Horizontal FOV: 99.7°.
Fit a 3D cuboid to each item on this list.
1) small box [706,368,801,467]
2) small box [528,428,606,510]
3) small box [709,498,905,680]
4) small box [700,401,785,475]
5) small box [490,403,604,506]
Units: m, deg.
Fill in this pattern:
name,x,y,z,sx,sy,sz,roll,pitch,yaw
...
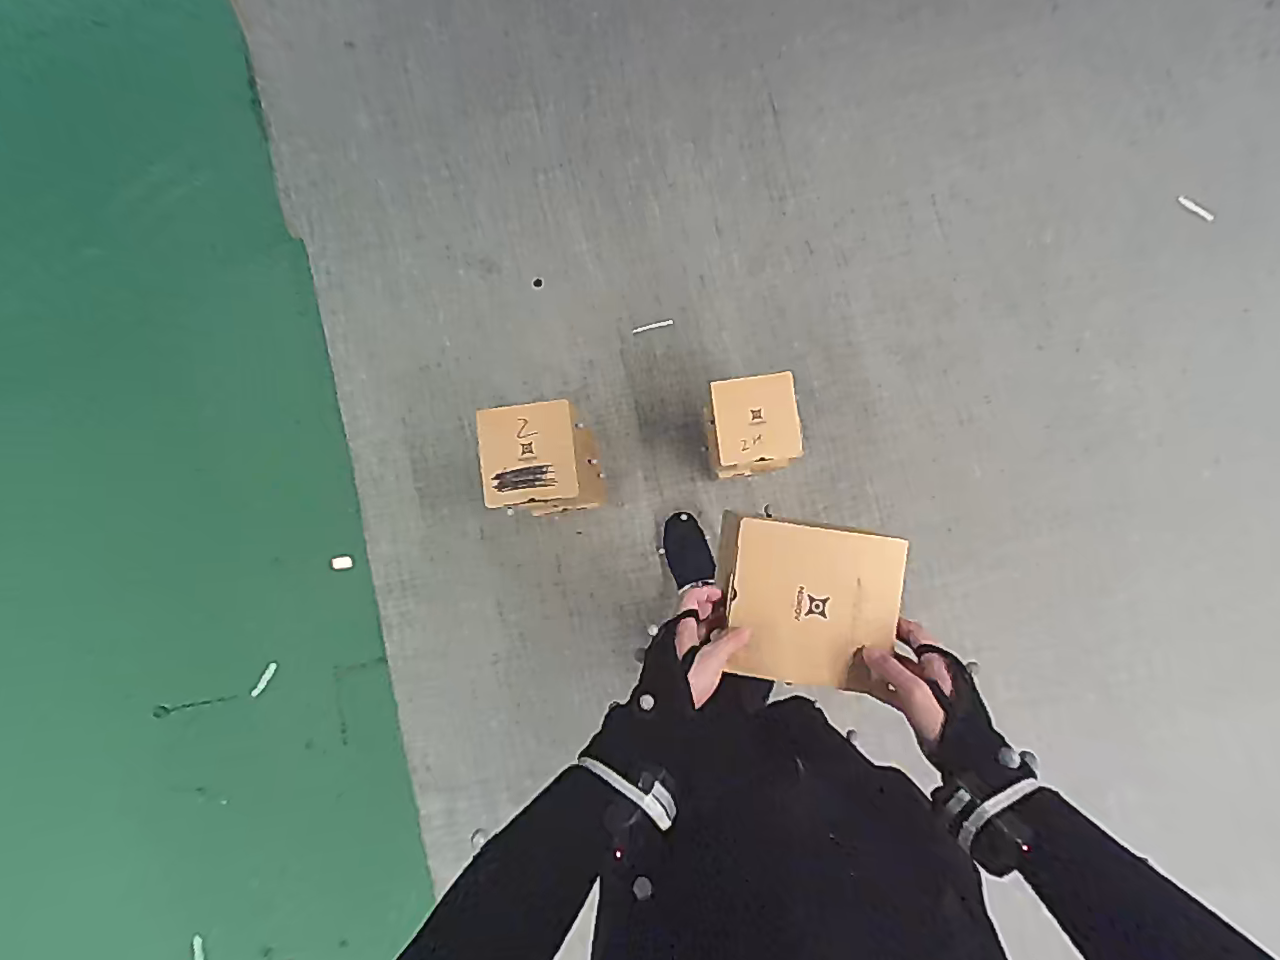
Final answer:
name,x,y,z,sx,sy,sz,roll,pitch,yaw
small box,0.236,-0.128,1.162,0.168,0.176,0.179,-6,87,3
small box,-0.183,-0.022,1.343,0.168,0.176,0.179,-8,86,2
small box,0.181,0.115,0.643,0.179,0.176,0.168,9,91,3
small box,0.245,-0.109,1.327,0.168,0.176,0.179,-10,87,2
small box,-0.196,-0.048,1.191,0.179,0.176,0.168,24,90,4
